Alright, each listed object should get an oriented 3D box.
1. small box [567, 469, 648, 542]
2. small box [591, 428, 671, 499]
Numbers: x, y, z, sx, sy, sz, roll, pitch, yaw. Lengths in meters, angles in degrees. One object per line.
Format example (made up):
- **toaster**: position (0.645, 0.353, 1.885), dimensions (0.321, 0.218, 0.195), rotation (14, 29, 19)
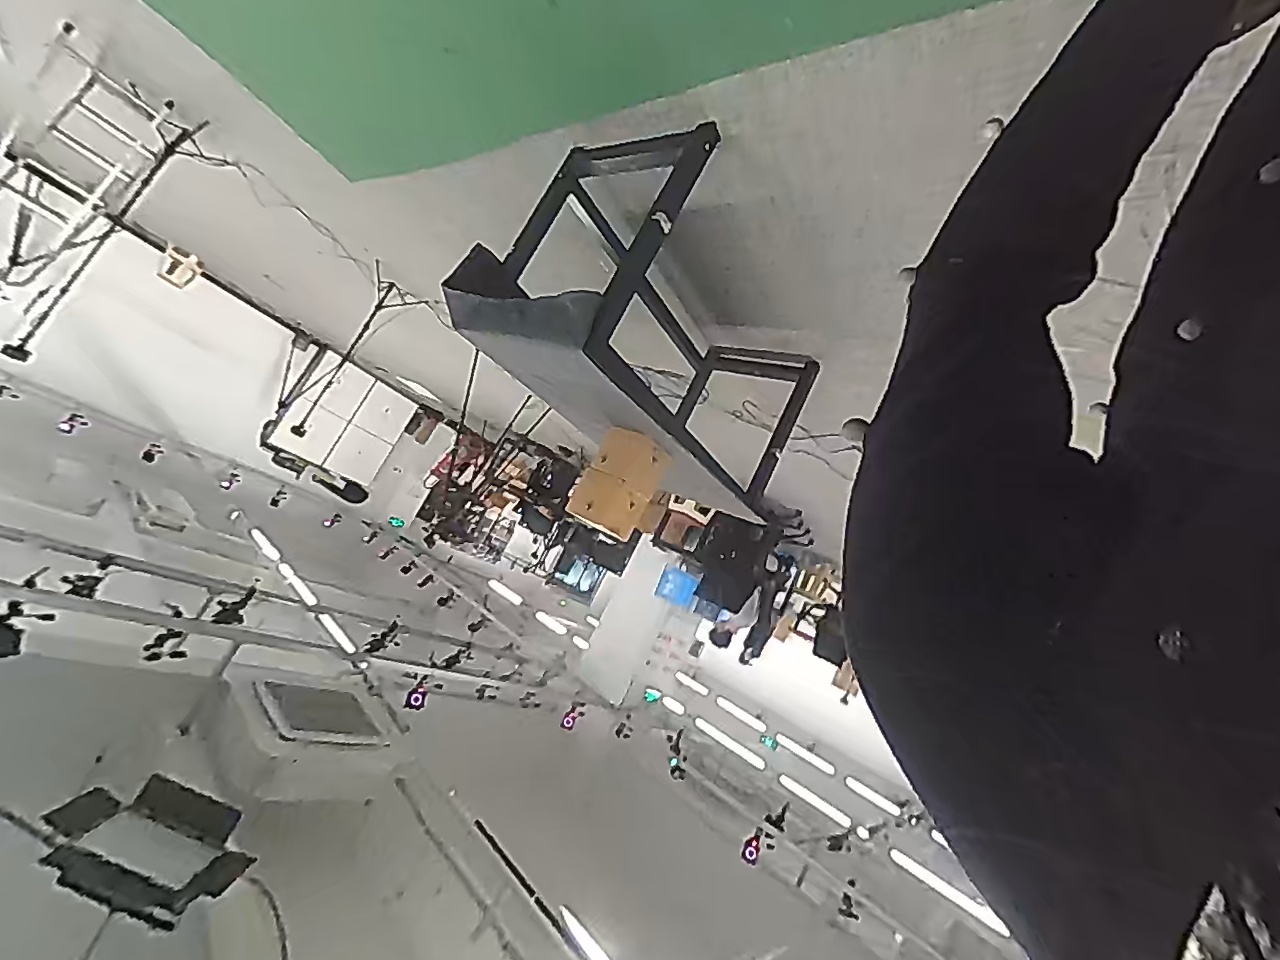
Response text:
- **small box**: position (-0.104, 0.080, 1.813), dimensions (0.179, 0.176, 0.168), rotation (19, 168, 39)
- **small box**: position (-0.027, -0.061, 1.835), dimensions (0.179, 0.176, 0.168), rotation (19, 169, 39)
